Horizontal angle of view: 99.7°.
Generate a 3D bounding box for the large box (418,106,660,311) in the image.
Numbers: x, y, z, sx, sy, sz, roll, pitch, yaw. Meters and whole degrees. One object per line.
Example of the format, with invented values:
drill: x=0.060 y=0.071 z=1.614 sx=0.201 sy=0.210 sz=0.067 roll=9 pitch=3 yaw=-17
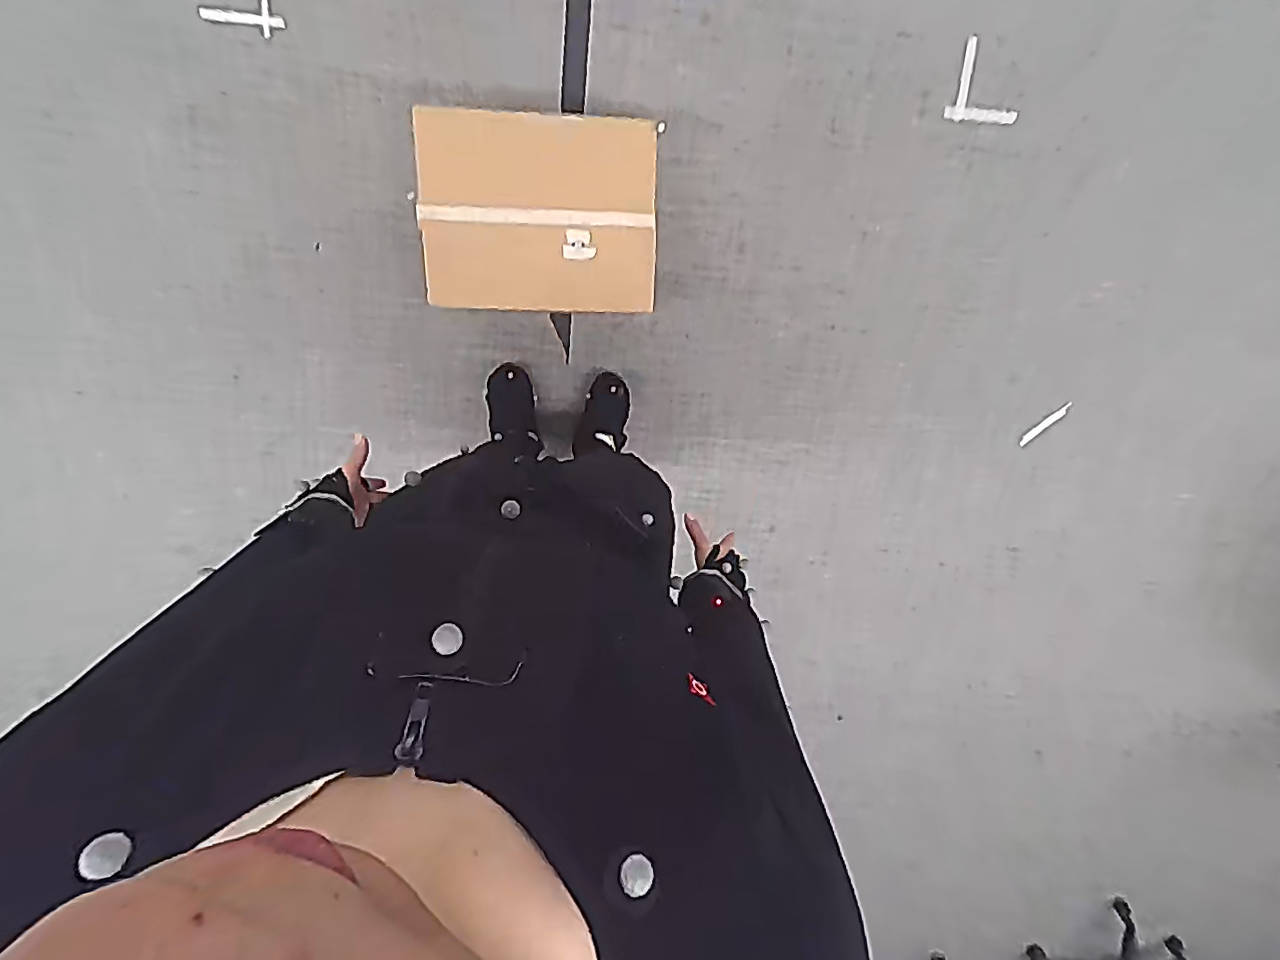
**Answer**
large box: x=-0.182 y=-0.503 z=1.078 sx=0.408 sy=0.320 sz=0.320 roll=0 pitch=107 yaw=-6
